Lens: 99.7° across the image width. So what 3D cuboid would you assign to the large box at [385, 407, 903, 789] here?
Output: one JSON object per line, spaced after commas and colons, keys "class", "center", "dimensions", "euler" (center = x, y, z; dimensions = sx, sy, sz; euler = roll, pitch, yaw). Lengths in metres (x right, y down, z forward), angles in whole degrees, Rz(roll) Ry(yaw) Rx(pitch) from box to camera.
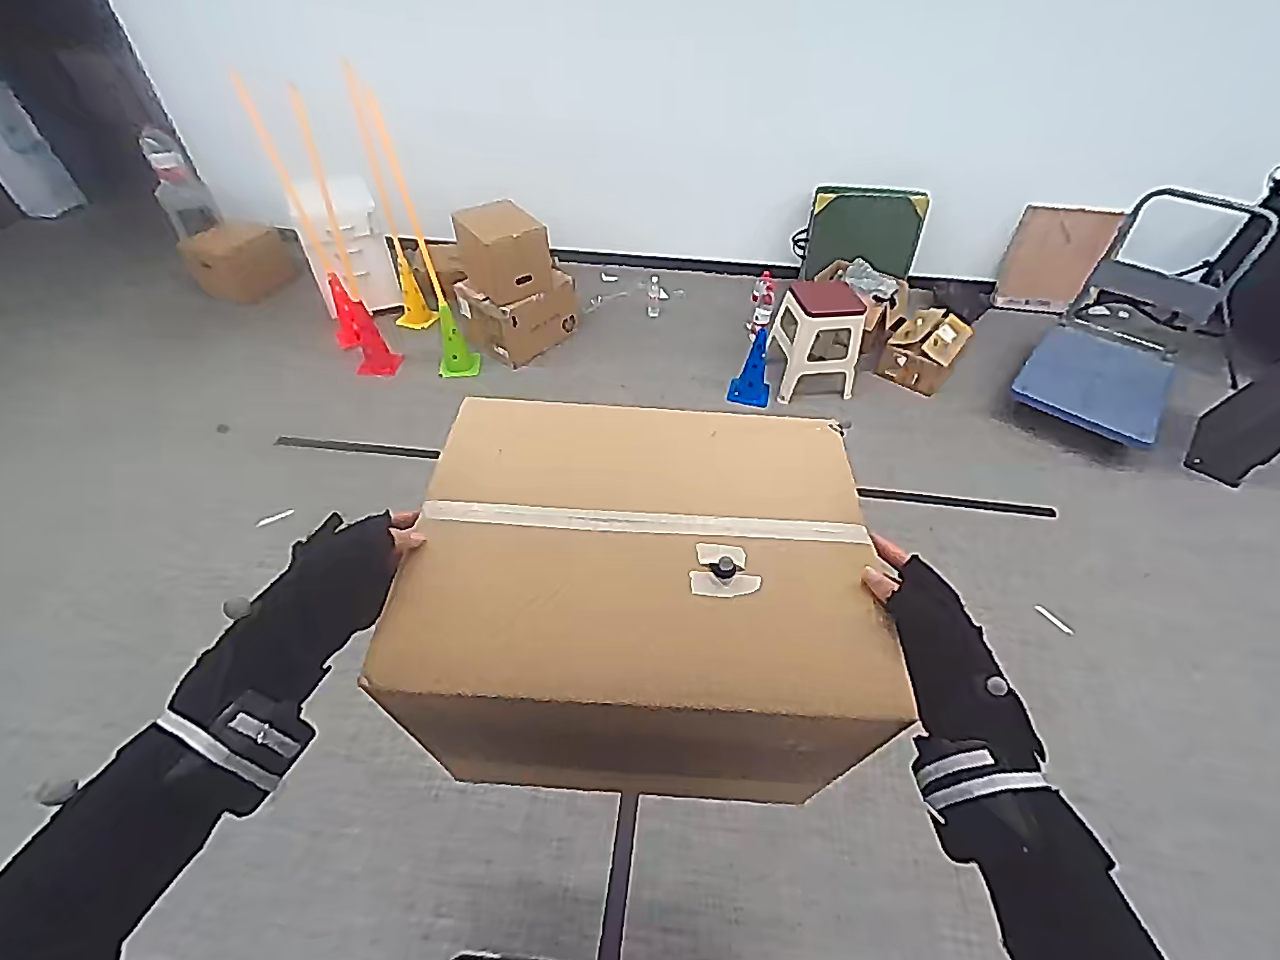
{"class": "large box", "center": [0.001, 0.141, 0.614], "dimensions": [0.408, 0.320, 0.320], "euler": [4, 51, 0]}
